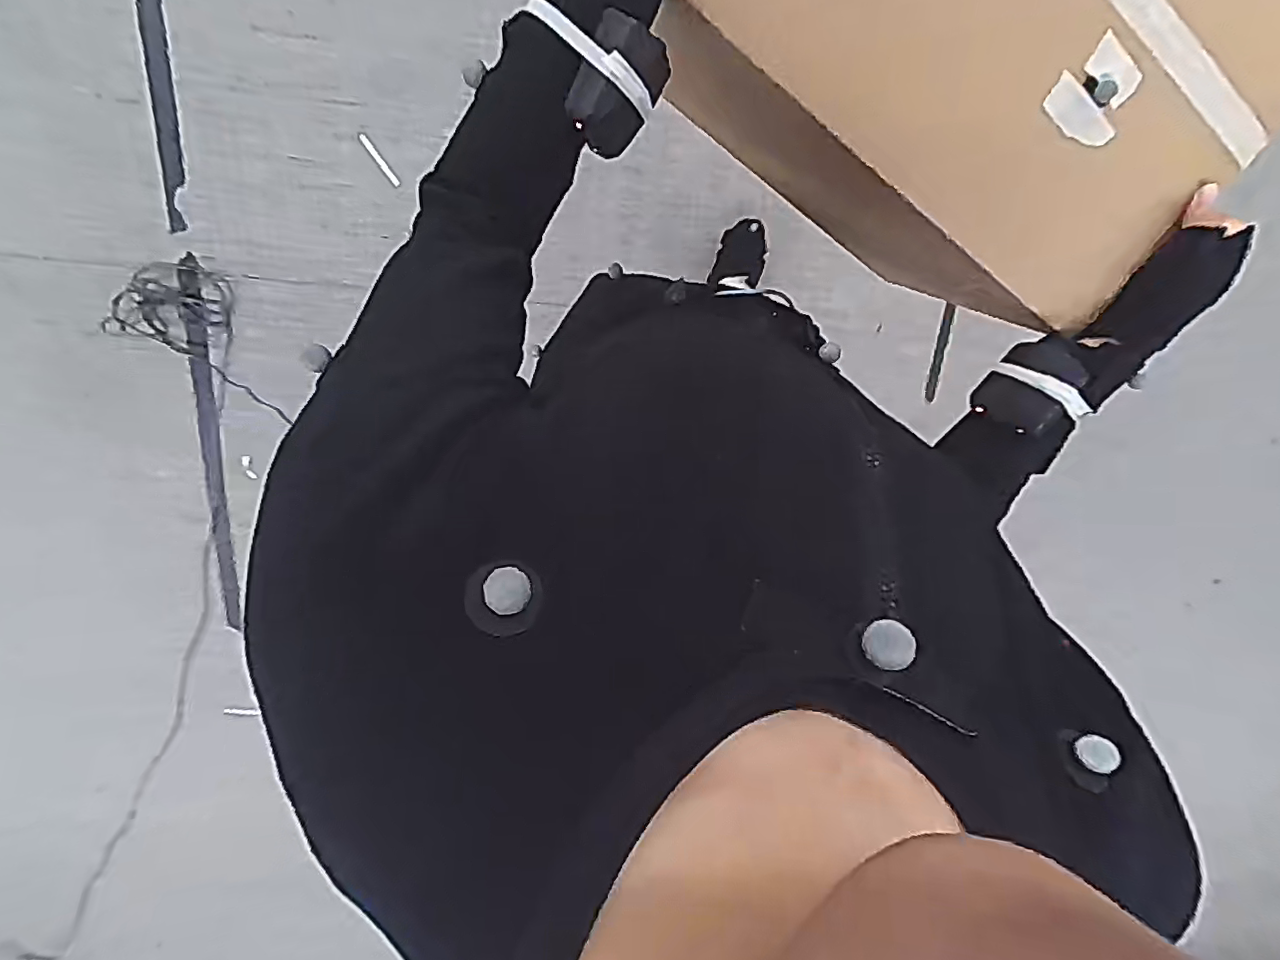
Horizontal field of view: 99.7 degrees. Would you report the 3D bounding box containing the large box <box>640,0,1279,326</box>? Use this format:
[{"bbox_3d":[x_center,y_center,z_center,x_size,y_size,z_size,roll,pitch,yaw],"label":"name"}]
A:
[{"bbox_3d":[0.255,-0.400,0.468,0.408,0.320,0.320,28,114,-20],"label":"large box"}]
